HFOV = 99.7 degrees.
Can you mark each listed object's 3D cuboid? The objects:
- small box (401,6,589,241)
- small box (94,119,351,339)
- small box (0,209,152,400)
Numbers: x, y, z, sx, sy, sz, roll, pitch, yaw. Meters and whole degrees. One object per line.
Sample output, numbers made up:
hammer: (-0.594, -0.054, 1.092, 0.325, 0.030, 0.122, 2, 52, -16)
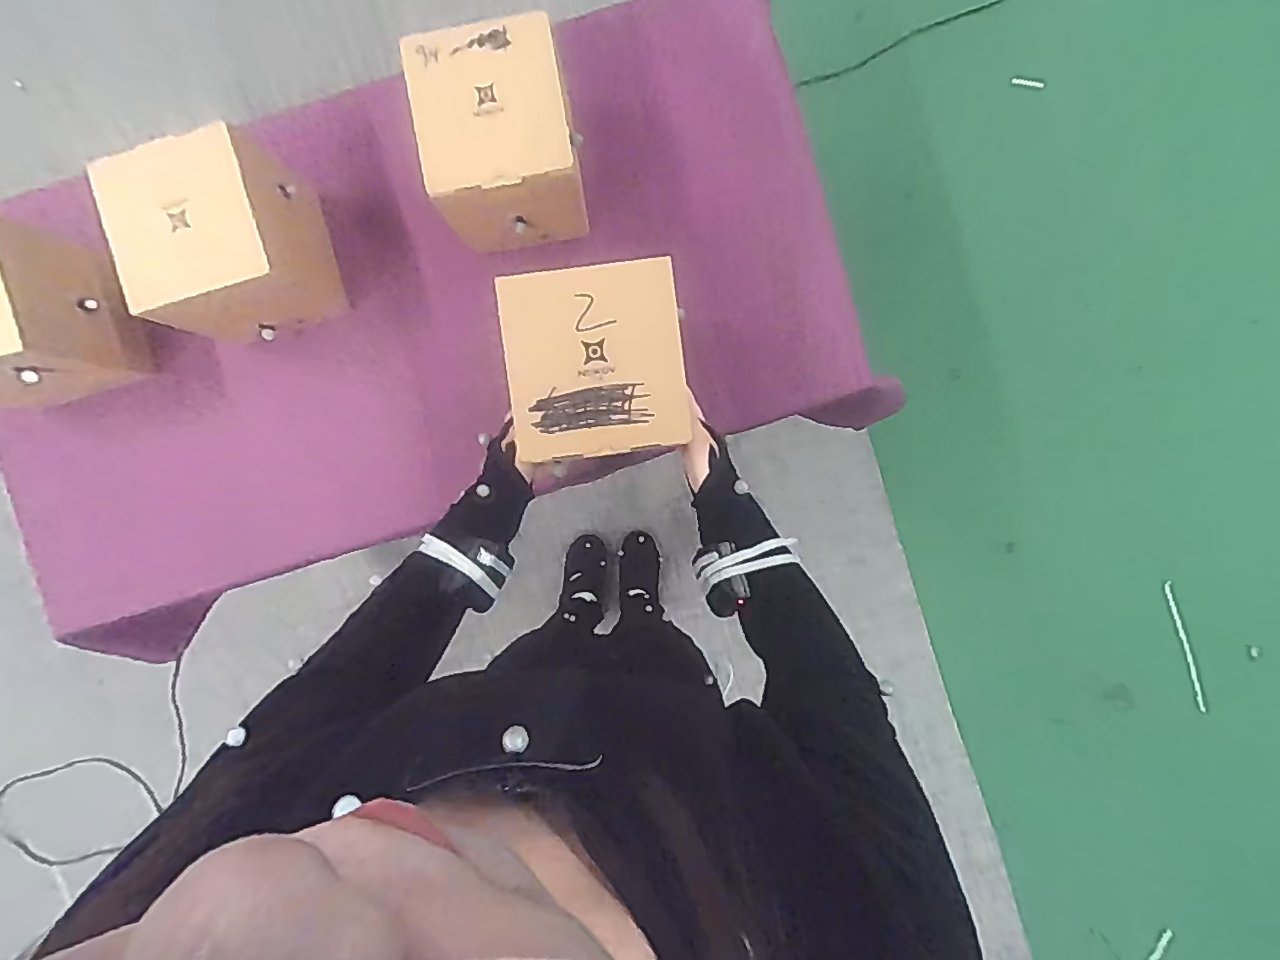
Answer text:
small box: (-0.163, -0.414, 0.665, 0.168, 0.176, 0.179, -10, 92, 1)
small box: (-0.501, -0.296, 0.676, 0.168, 0.176, 0.179, -16, 92, 2)
small box: (-0.774, -0.208, 0.682, 0.179, 0.176, 0.168, -16, 91, 1)
